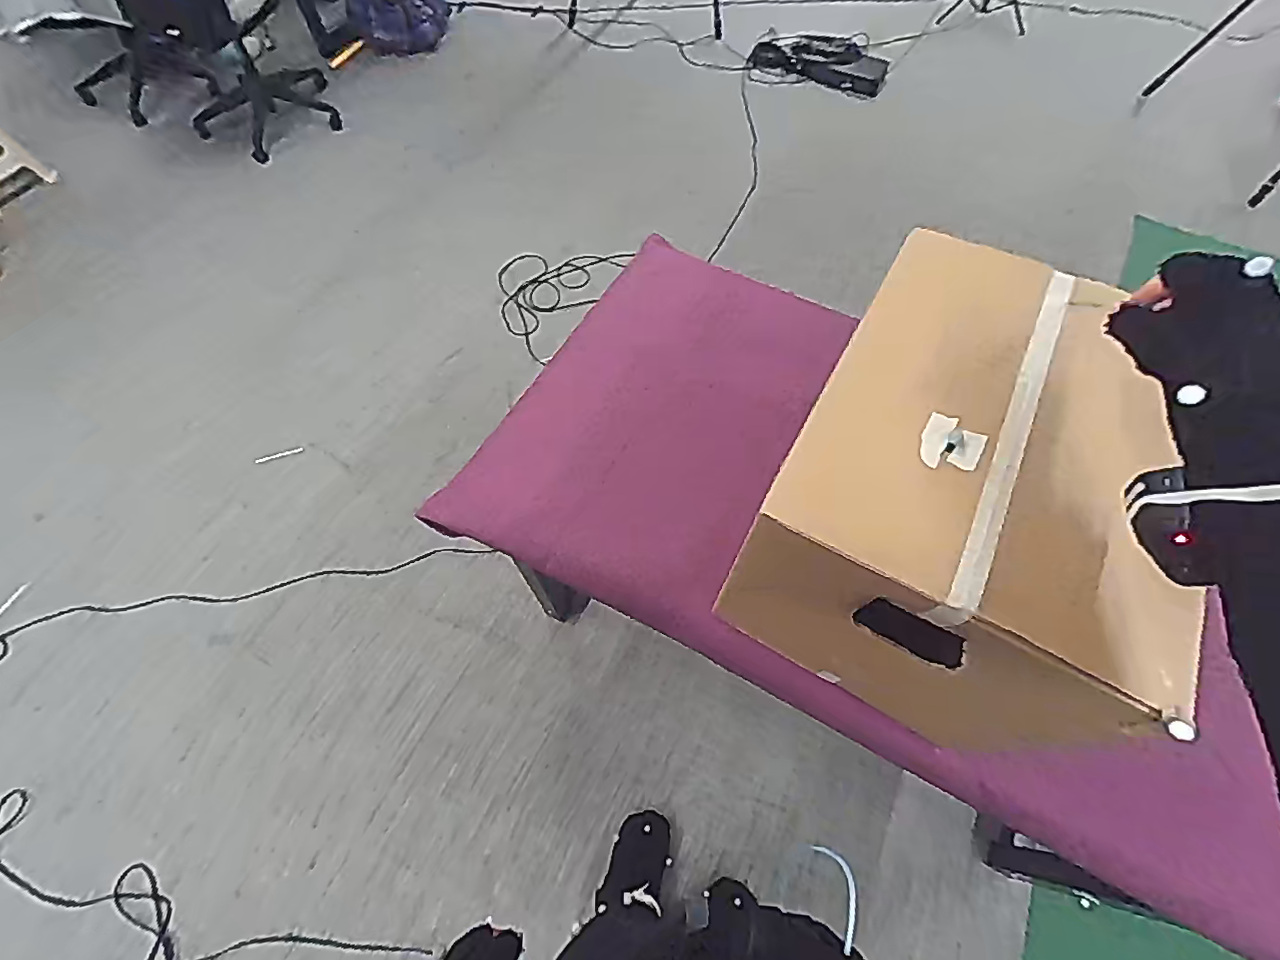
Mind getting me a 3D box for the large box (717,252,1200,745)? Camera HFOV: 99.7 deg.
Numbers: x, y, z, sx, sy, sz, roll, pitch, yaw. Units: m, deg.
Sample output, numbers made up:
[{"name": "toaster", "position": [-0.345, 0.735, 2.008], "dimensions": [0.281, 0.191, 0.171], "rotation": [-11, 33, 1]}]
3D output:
[{"name": "large box", "position": [0.328, 0.029, 0.624], "dimensions": [0.320, 0.320, 0.408], "rotation": [28, 65, 15]}]
